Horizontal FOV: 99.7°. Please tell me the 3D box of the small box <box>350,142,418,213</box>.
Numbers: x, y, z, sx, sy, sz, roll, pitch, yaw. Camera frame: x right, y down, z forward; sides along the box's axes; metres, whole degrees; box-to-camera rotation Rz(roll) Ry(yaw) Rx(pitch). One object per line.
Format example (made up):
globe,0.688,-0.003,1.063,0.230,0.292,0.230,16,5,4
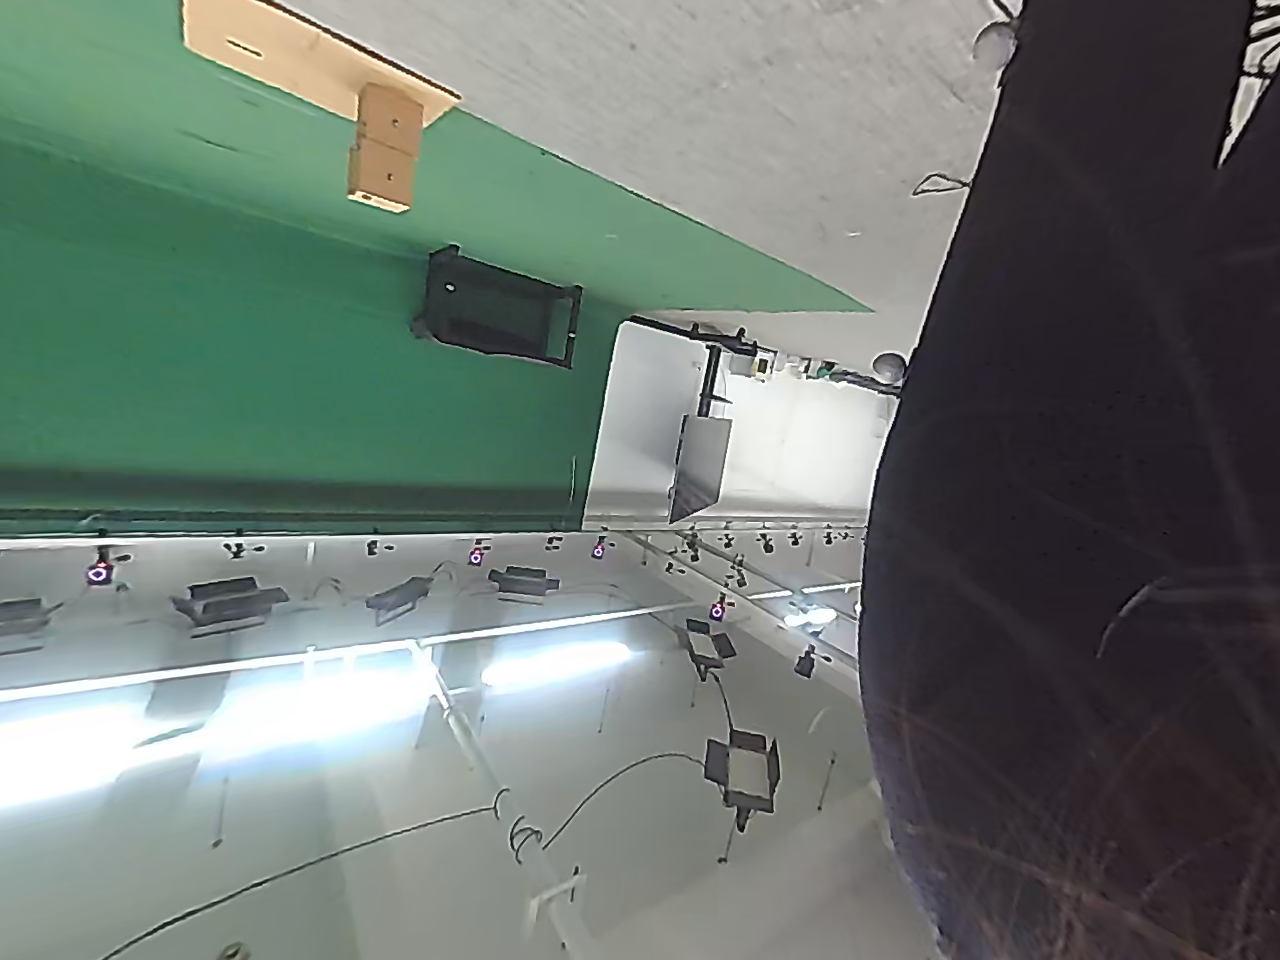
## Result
small box,-0.902,-1.066,1.902,0.179,0.176,0.168,-1,-165,-42
